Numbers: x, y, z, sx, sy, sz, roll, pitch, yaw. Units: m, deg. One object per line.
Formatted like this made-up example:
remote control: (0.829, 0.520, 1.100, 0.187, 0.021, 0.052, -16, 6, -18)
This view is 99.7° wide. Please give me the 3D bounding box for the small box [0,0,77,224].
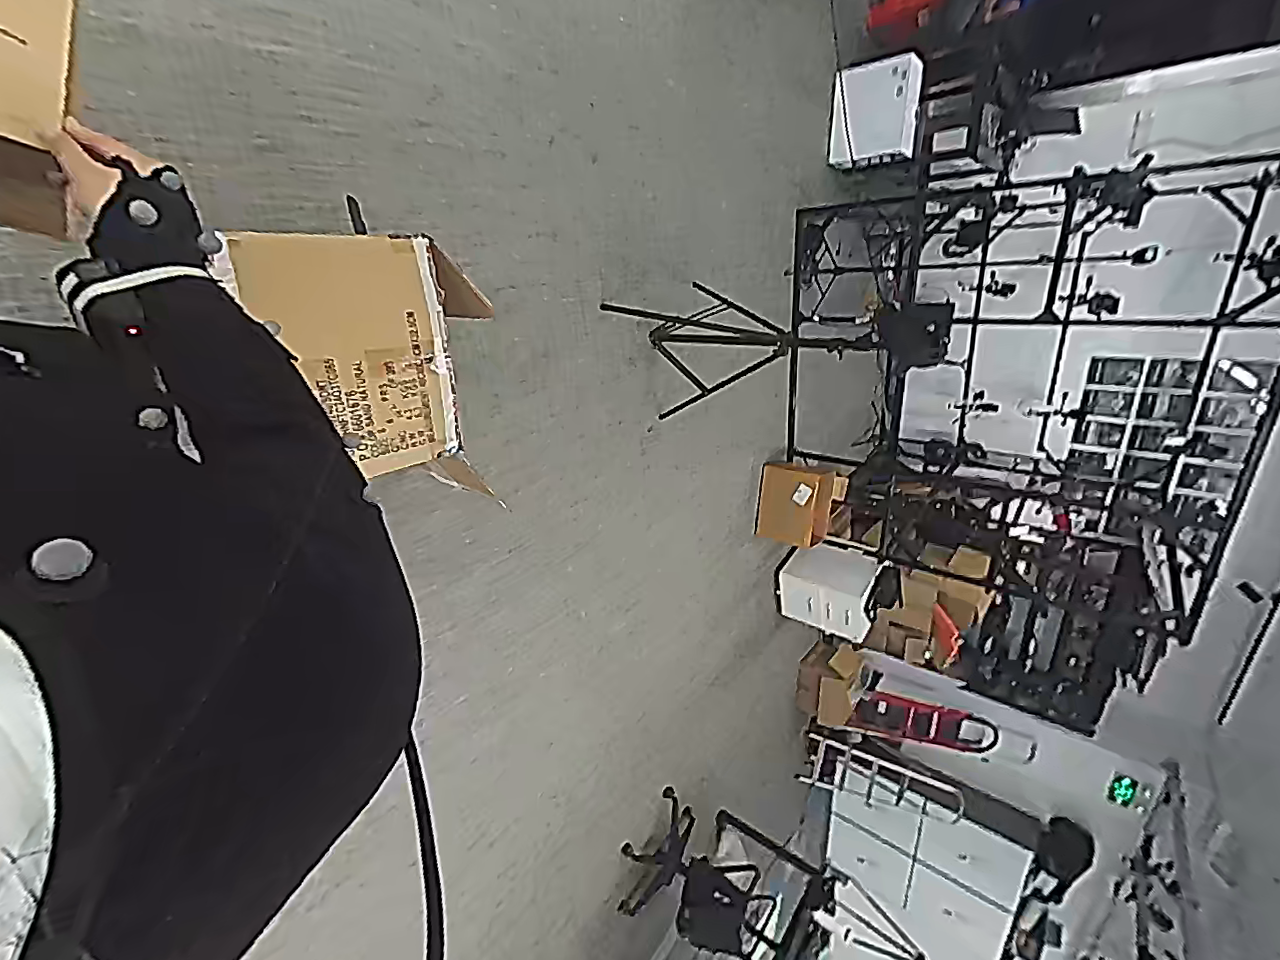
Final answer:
small box: (-0.567, -0.330, 0.417, 0.179, 0.176, 0.168, 4, 83, -46)
